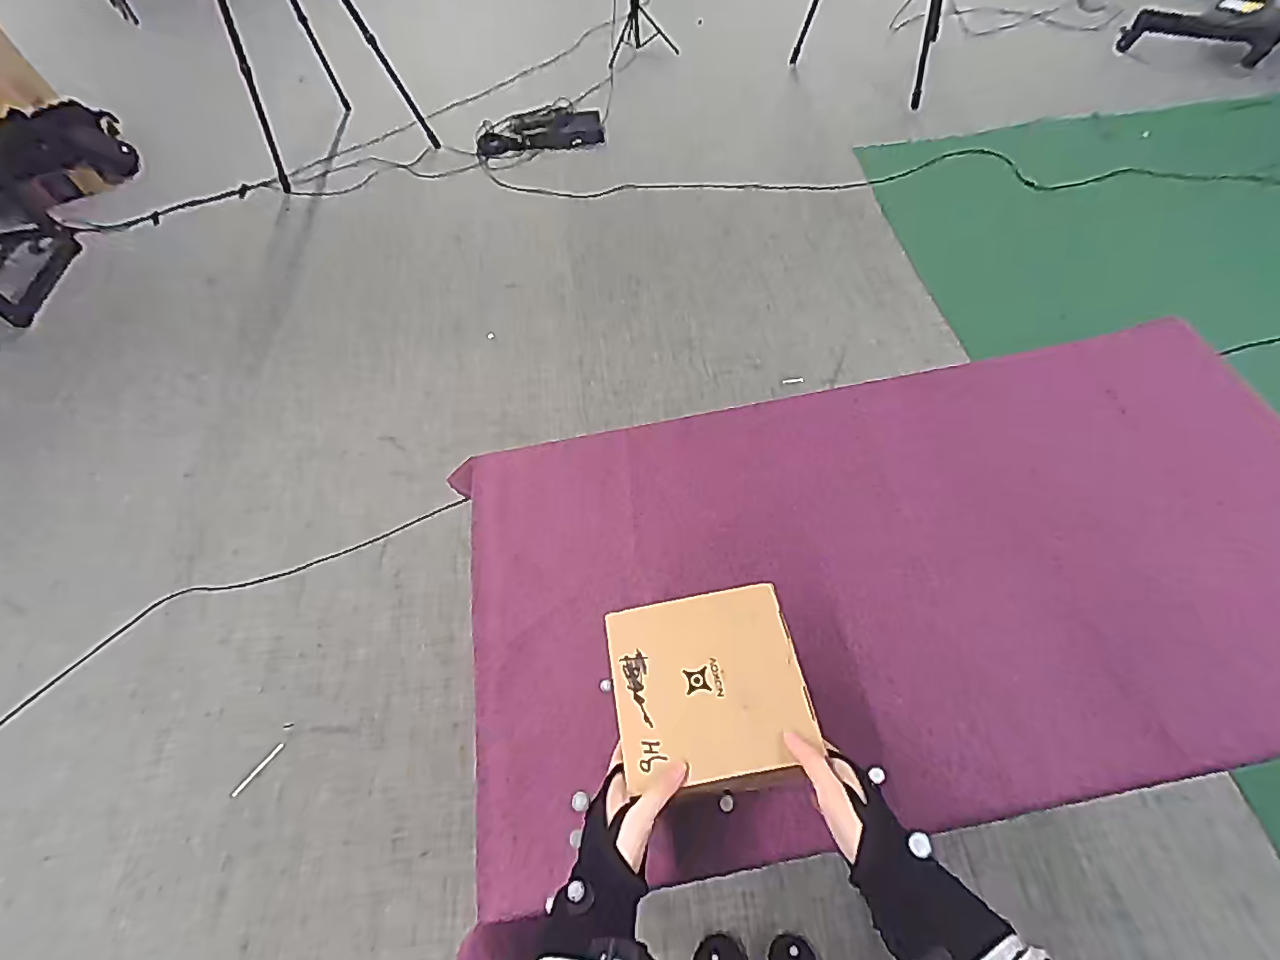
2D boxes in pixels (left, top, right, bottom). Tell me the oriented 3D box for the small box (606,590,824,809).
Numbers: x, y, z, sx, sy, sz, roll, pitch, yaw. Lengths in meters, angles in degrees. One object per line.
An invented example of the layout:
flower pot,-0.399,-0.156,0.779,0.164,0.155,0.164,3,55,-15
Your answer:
small box,0.068,0.235,0.568,0.179,0.176,0.168,-10,55,0
